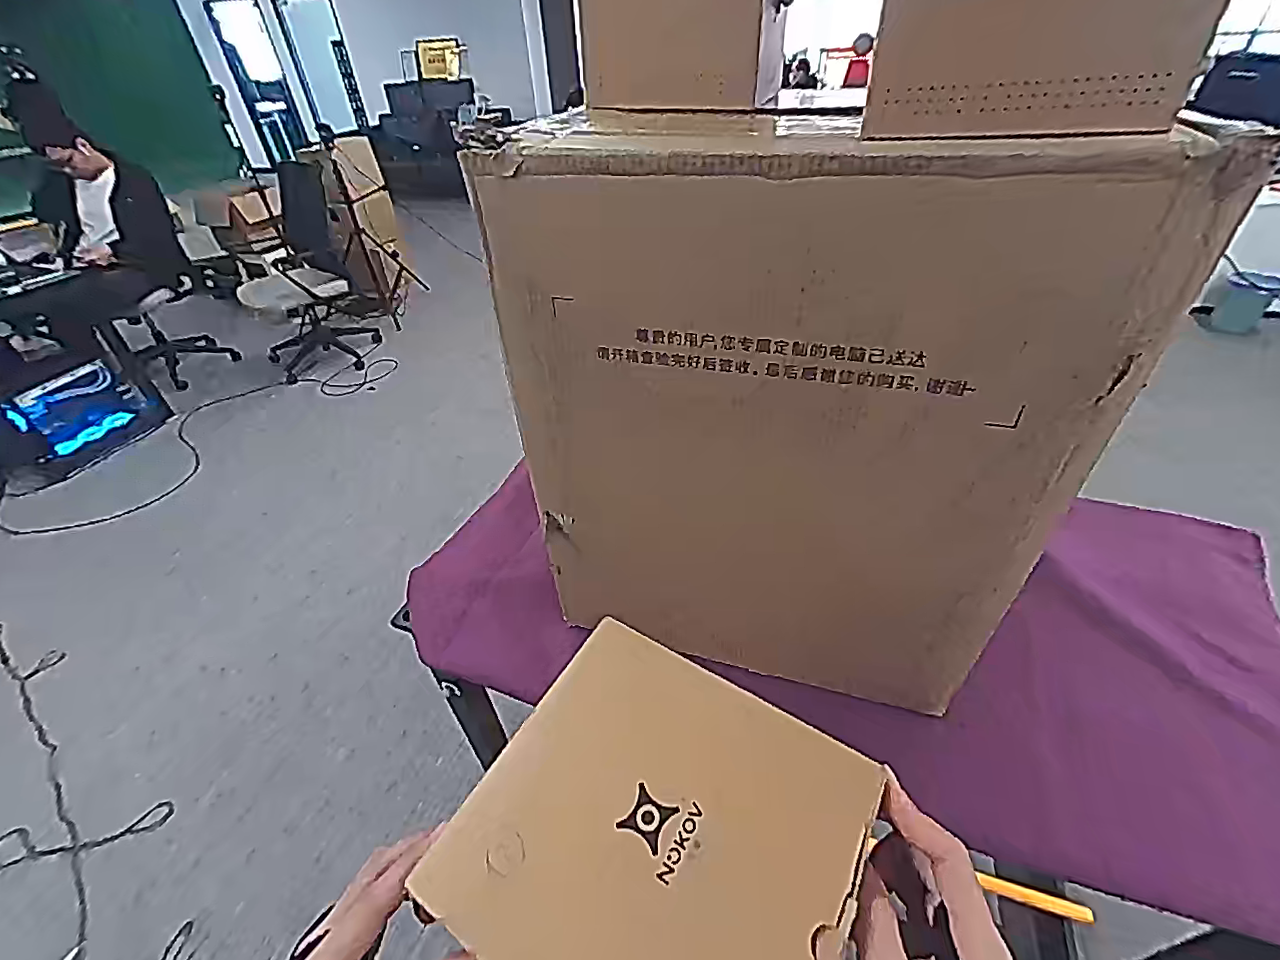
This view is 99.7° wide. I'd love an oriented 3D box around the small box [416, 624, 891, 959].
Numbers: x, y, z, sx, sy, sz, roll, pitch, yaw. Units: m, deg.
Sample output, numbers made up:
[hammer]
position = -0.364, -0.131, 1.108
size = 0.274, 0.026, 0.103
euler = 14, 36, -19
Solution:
[small box]
position = 0.014, 0.224, 0.313
size = 0.179, 0.176, 0.168
euler = 22, 50, 25
